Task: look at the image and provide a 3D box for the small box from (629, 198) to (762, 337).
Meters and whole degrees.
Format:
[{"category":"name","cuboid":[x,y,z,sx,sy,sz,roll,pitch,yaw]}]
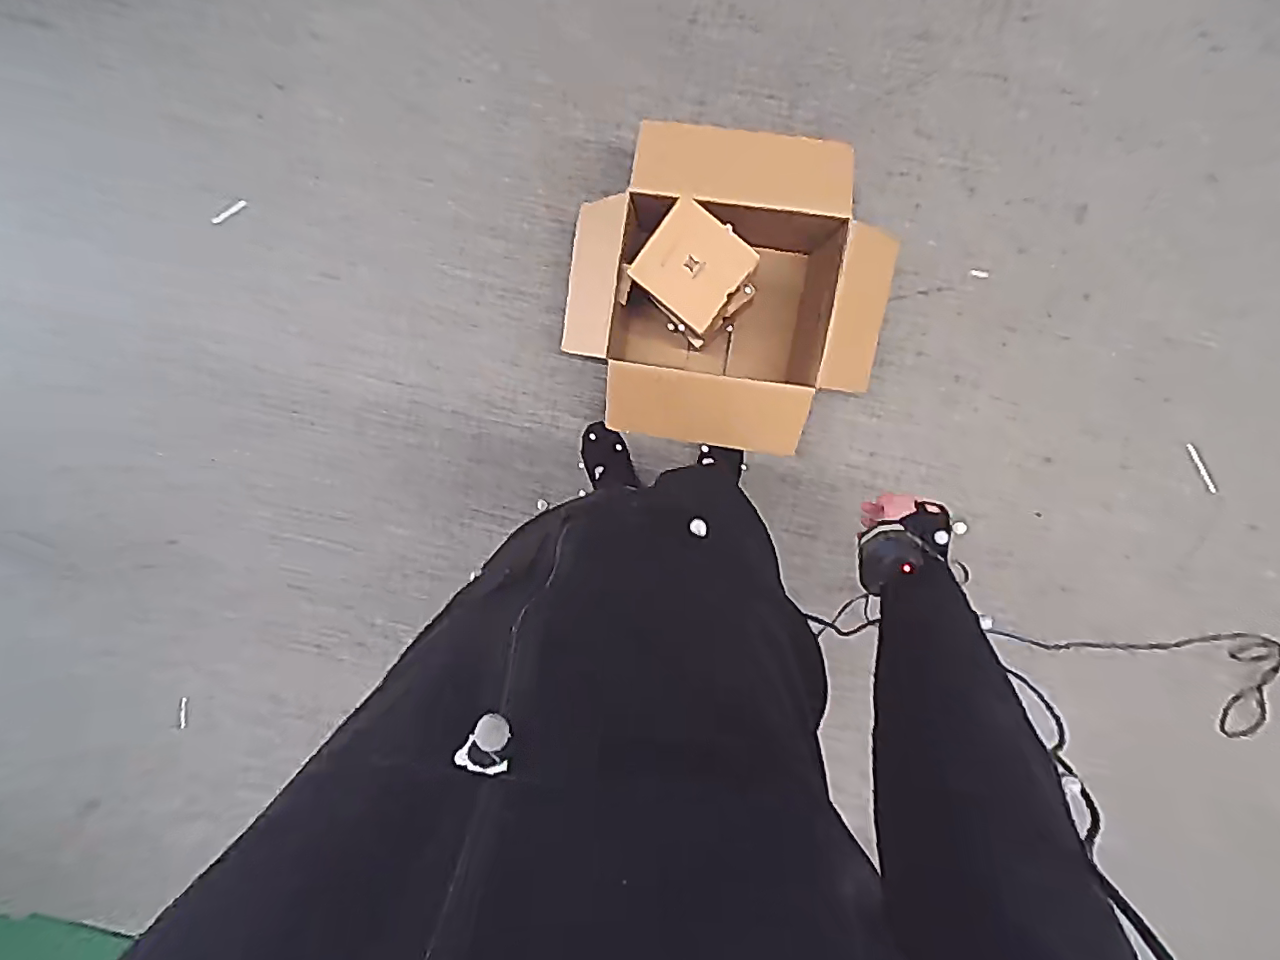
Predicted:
[{"category":"small box","cuboid":[0.108,-0.388,1.025,0.179,0.176,0.168,40,103,0]}]
